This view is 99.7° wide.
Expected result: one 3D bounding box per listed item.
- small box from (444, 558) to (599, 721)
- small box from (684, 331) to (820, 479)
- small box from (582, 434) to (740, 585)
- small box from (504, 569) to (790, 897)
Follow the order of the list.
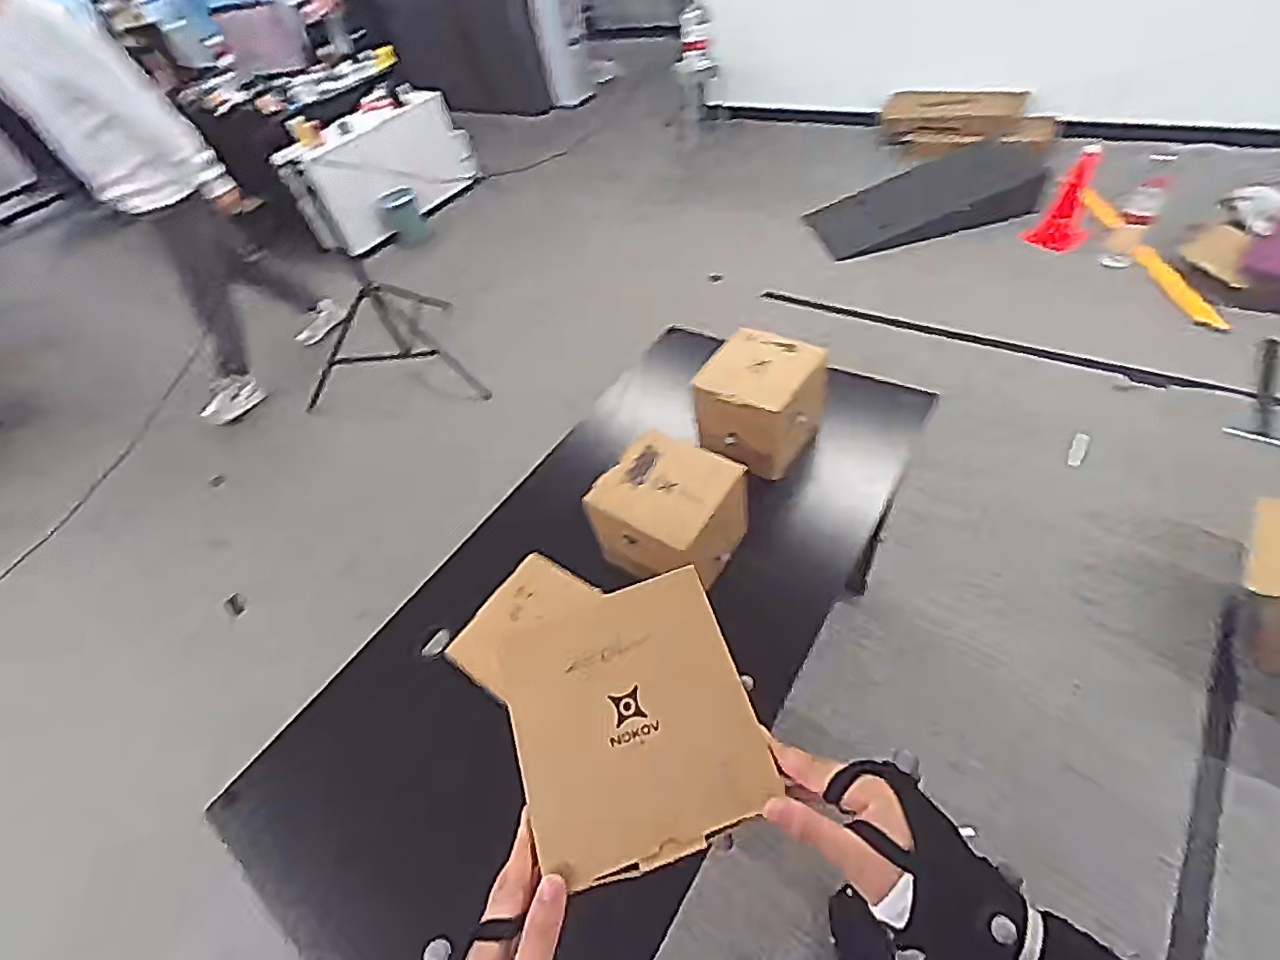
[{"bbox_3d":[-0.116,0.242,0.725,0.179,0.176,0.168,24,59,28],"label":"small box"},{"bbox_3d":[0.203,-0.131,0.964,0.168,0.176,0.179,26,62,30],"label":"small box"},{"bbox_3d":[0.041,0.062,0.840,0.179,0.176,0.168,24,60,28],"label":"small box"},{"bbox_3d":[0.004,0.202,0.450,0.168,0.176,0.179,-18,60,-5],"label":"small box"}]
